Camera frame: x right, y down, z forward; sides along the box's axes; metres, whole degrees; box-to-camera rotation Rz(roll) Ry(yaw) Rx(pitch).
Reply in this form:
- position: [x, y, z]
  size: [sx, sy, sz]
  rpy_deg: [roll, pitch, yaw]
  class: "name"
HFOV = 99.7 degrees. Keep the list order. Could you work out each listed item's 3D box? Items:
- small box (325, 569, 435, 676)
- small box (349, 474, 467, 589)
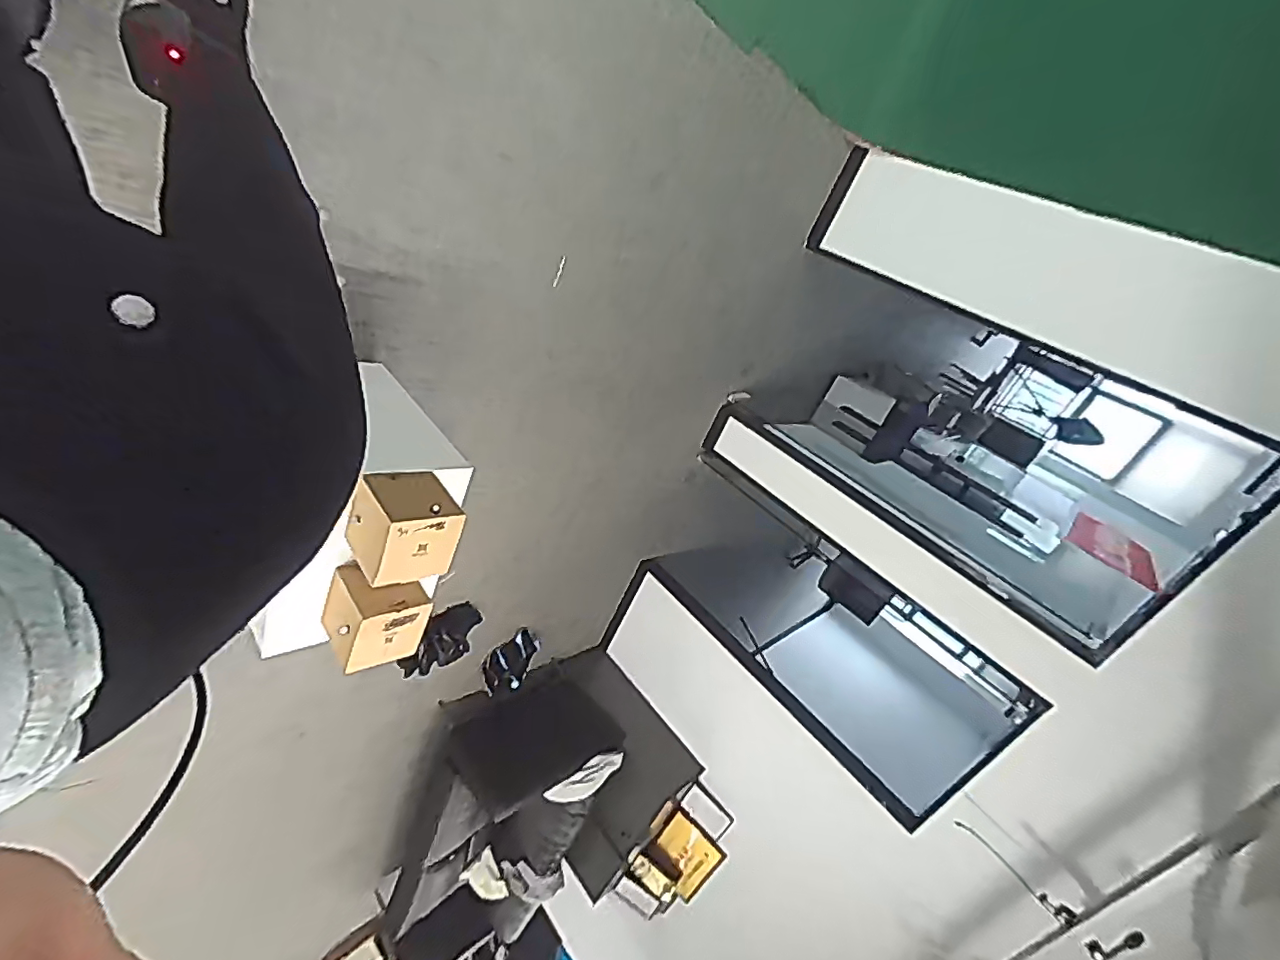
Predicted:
- position: [-0.617, 0.318, 1.274]
  size: [0.168, 0.176, 0.179]
  rpy_deg: [-3, 127, -50]
  class: "small box"
- position: [-0.508, 0.105, 1.171]
  size: [0.168, 0.176, 0.179]
  rpy_deg: [-5, 130, -49]
  class: "small box"
